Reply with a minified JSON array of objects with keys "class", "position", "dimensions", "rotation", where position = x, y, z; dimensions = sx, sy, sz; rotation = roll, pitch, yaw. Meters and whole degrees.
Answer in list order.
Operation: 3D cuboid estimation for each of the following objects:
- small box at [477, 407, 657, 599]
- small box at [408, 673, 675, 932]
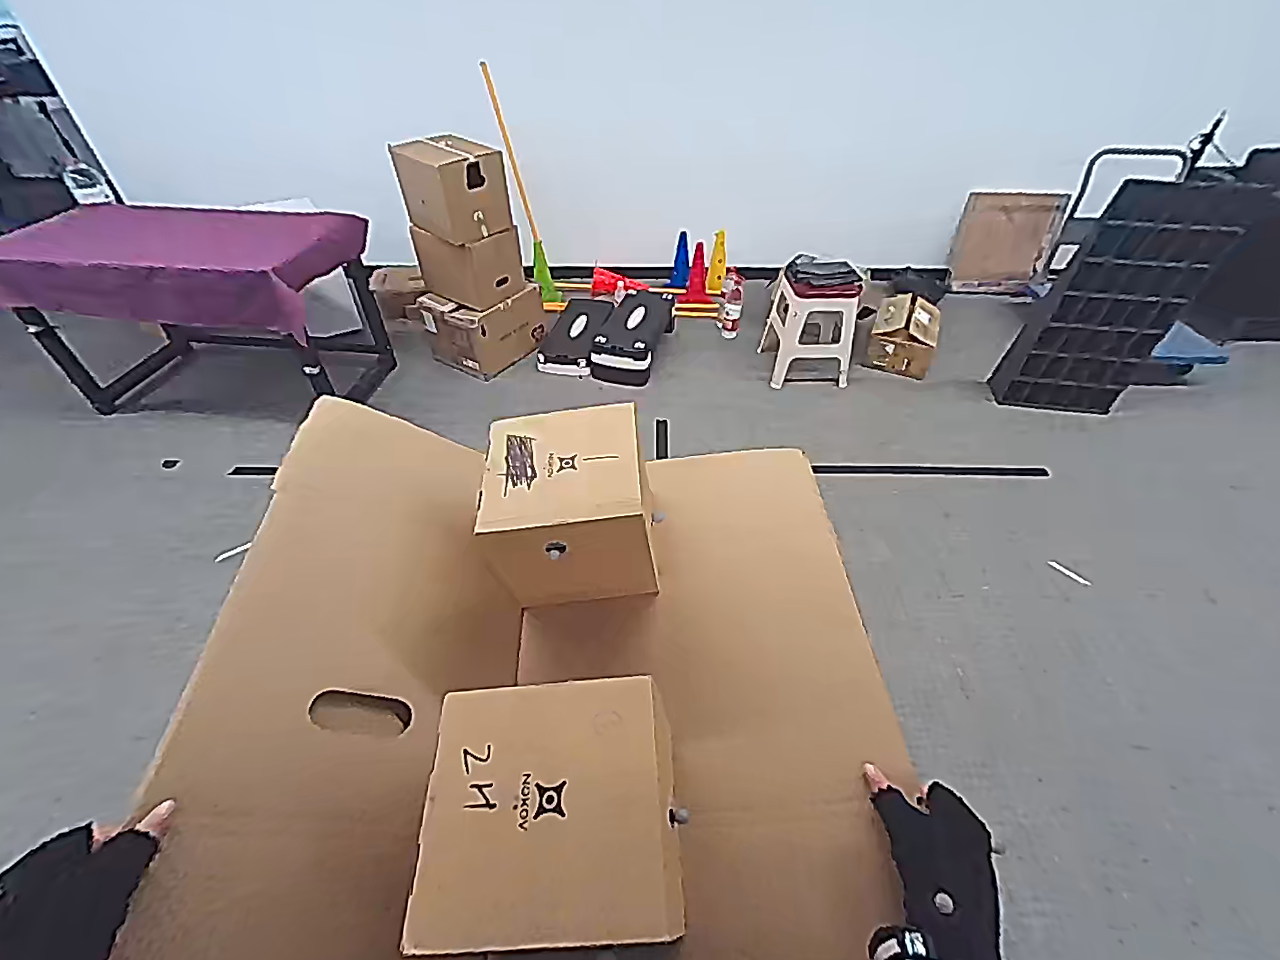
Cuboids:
[{"class":"small box","position":[-0.078,0.035,0.669],"dimensions":[0.179,0.176,0.168],"rotation":[-7,51,3]},{"class":"small box","position":[-0.062,0.280,0.468],"dimensions":[0.179,0.176,0.168],"rotation":[-6,51,5]}]
